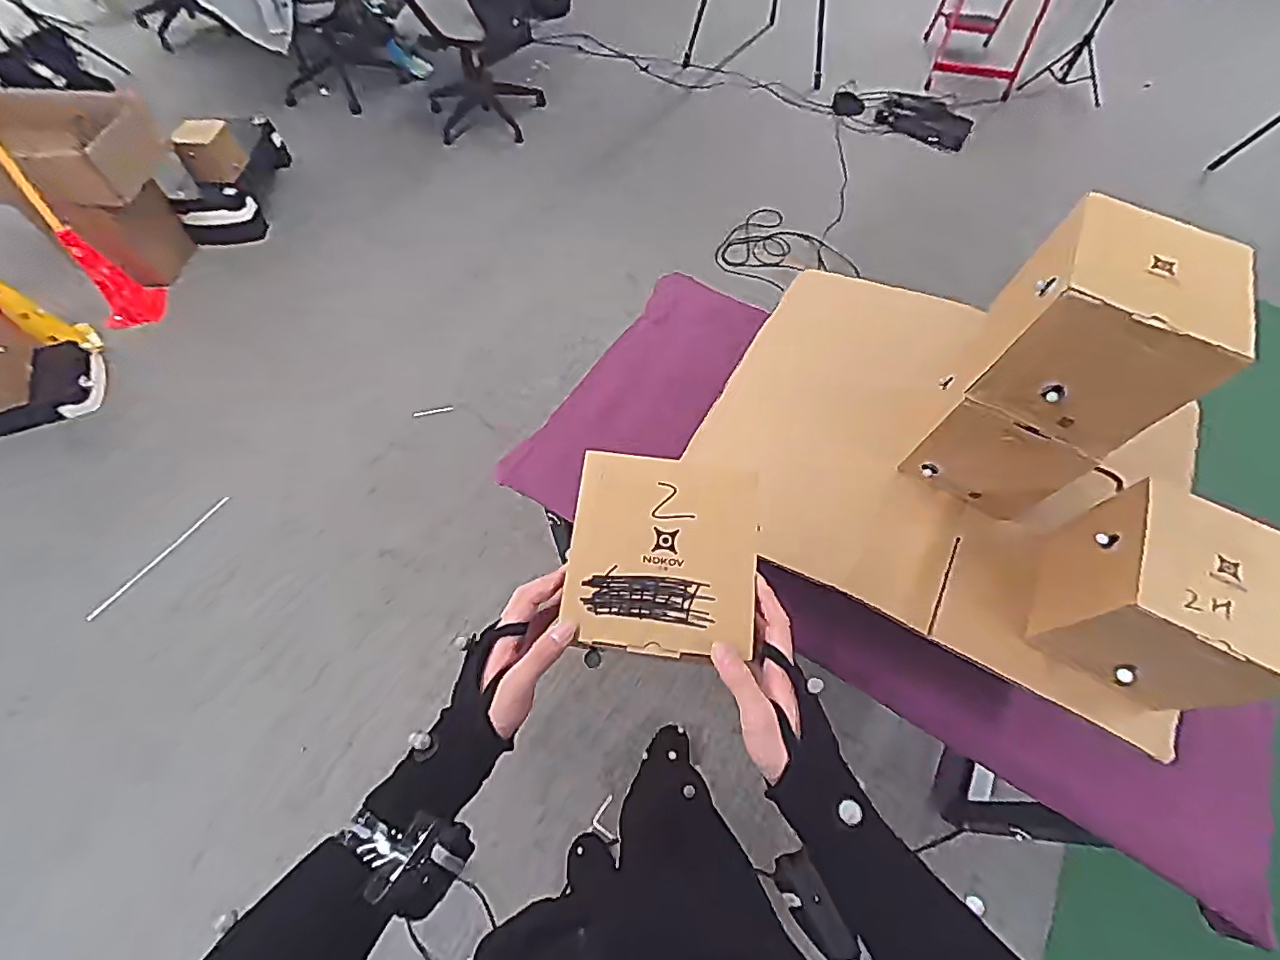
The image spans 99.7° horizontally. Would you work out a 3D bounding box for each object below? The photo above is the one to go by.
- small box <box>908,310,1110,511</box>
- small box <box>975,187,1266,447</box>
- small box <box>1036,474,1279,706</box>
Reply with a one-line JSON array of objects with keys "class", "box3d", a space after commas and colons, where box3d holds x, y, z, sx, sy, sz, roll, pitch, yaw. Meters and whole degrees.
[{"class": "small box", "box3d": [0.492, -0.086, 0.728, 0.168, 0.176, 0.179, 28, 63, 11]}, {"class": "small box", "box3d": [0.504, -0.169, 0.589, 0.168, 0.176, 0.179, 27, 65, 10]}, {"class": "small box", "box3d": [0.597, 0.131, 0.617, 0.168, 0.176, 0.179, 27, 64, 12]}]
